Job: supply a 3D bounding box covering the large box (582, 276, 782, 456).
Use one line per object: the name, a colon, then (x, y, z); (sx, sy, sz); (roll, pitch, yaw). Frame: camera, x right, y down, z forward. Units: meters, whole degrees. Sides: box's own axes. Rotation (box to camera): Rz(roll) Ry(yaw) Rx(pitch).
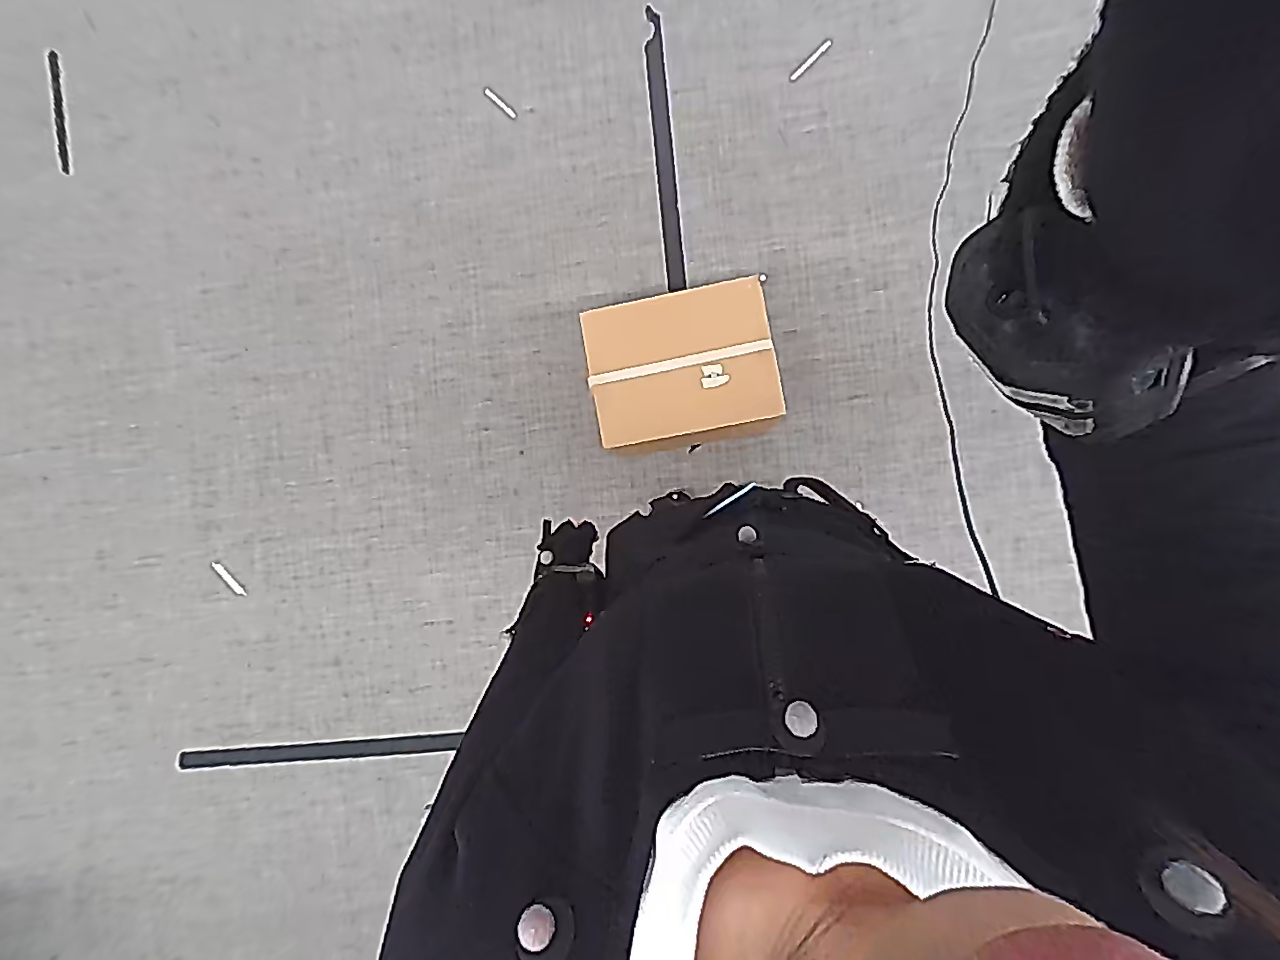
large box: (0.101, -0.258, 1.346); (0.408, 0.320, 0.320); (-10, 88, 5)
